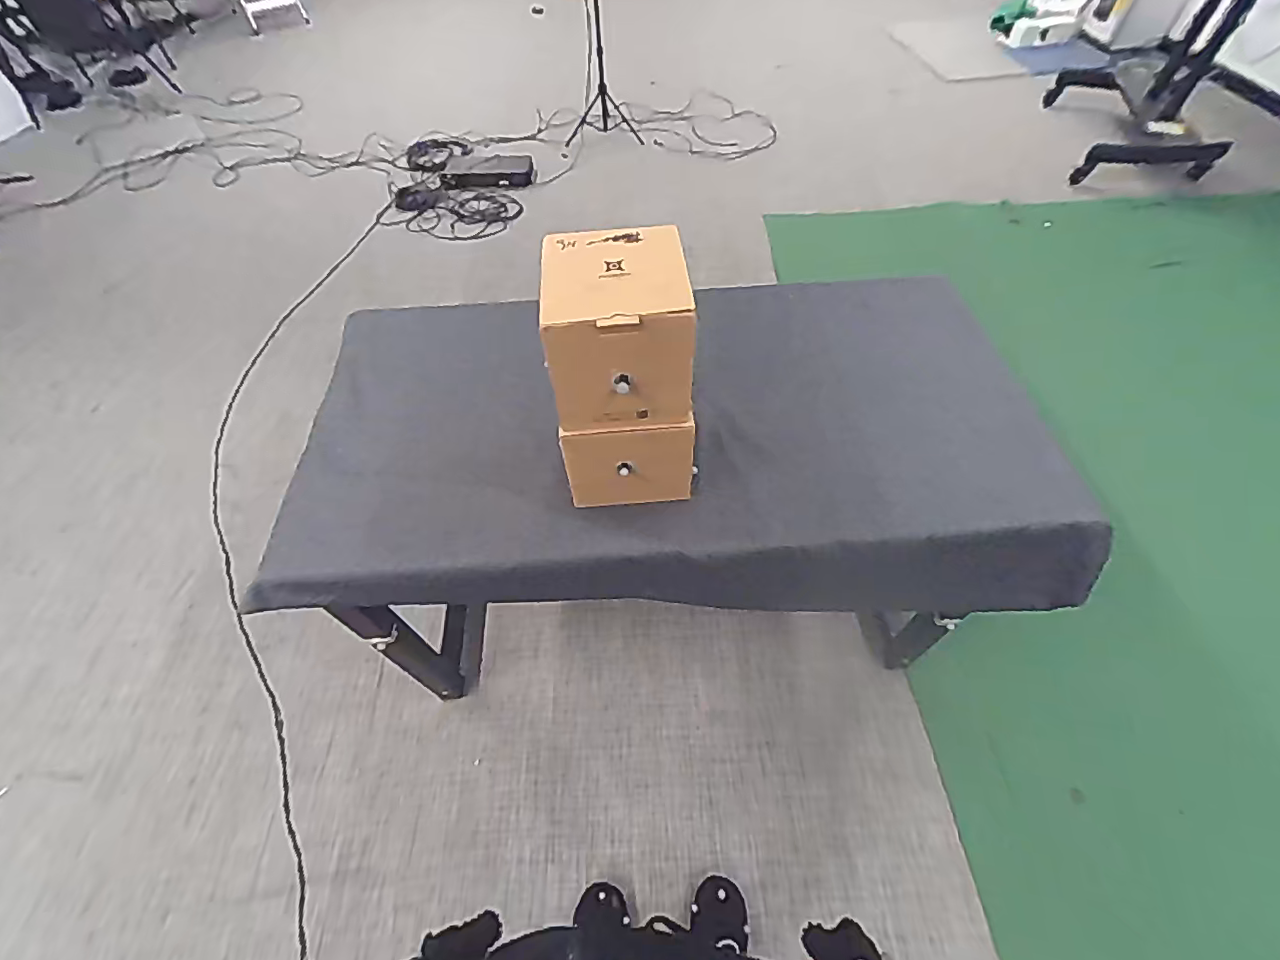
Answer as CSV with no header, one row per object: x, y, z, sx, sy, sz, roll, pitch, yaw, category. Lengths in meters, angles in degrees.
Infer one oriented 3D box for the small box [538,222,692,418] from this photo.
-0.027,-0.190,0.673,0.168,0.176,0.179,-4,55,-1,small box

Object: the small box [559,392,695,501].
-0.019,-0.084,0.798,0.179,0.176,0.168,-5,54,0,small box
